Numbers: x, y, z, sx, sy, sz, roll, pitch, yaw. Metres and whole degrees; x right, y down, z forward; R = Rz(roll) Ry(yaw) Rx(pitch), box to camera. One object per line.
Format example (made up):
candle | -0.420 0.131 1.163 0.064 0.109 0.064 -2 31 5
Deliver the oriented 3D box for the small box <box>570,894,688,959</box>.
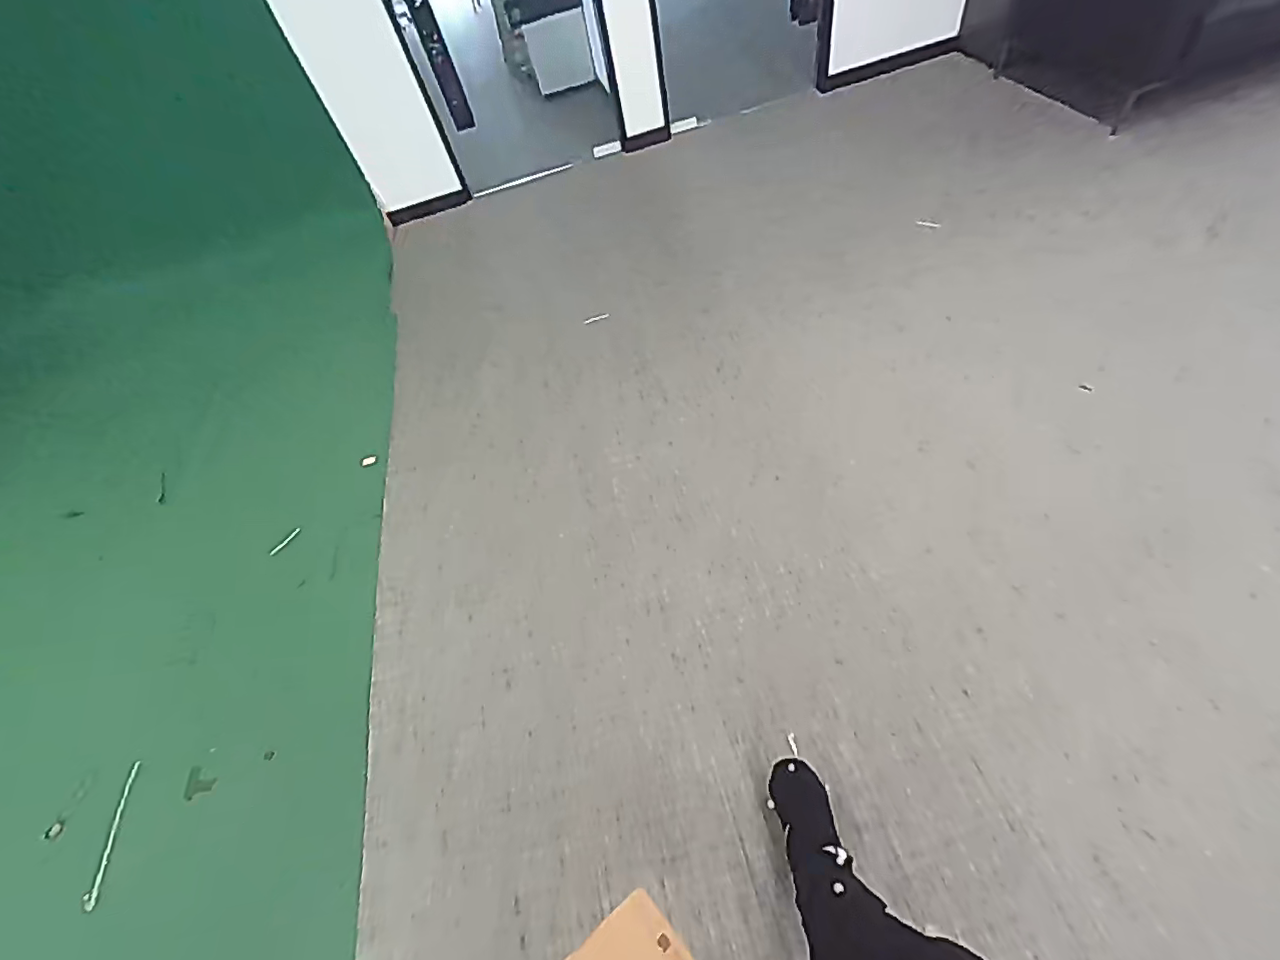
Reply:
small box | -0.028 0.623 0.602 0.168 0.179 0.176 37 30 30
